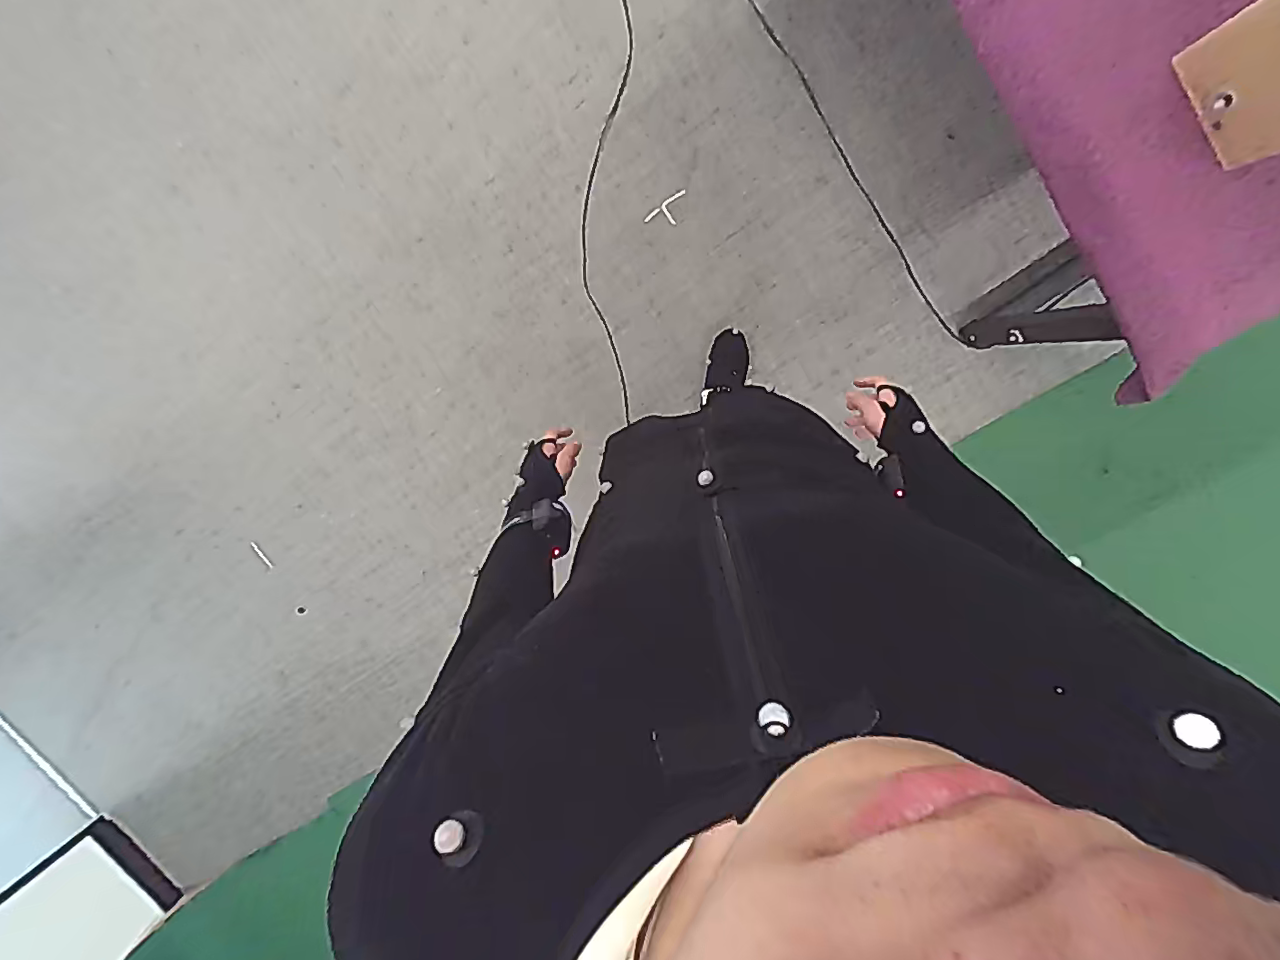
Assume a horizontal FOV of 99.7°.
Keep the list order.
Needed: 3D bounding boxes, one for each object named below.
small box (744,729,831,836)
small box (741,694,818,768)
[{"bbox_3d":[0.413,0.852,1.536,0.168,0.176,0.179,-32,97,12],"label":"small box"},{"bbox_3d":[0.431,0.815,1.695,0.168,0.176,0.179,-31,98,12],"label":"small box"}]
